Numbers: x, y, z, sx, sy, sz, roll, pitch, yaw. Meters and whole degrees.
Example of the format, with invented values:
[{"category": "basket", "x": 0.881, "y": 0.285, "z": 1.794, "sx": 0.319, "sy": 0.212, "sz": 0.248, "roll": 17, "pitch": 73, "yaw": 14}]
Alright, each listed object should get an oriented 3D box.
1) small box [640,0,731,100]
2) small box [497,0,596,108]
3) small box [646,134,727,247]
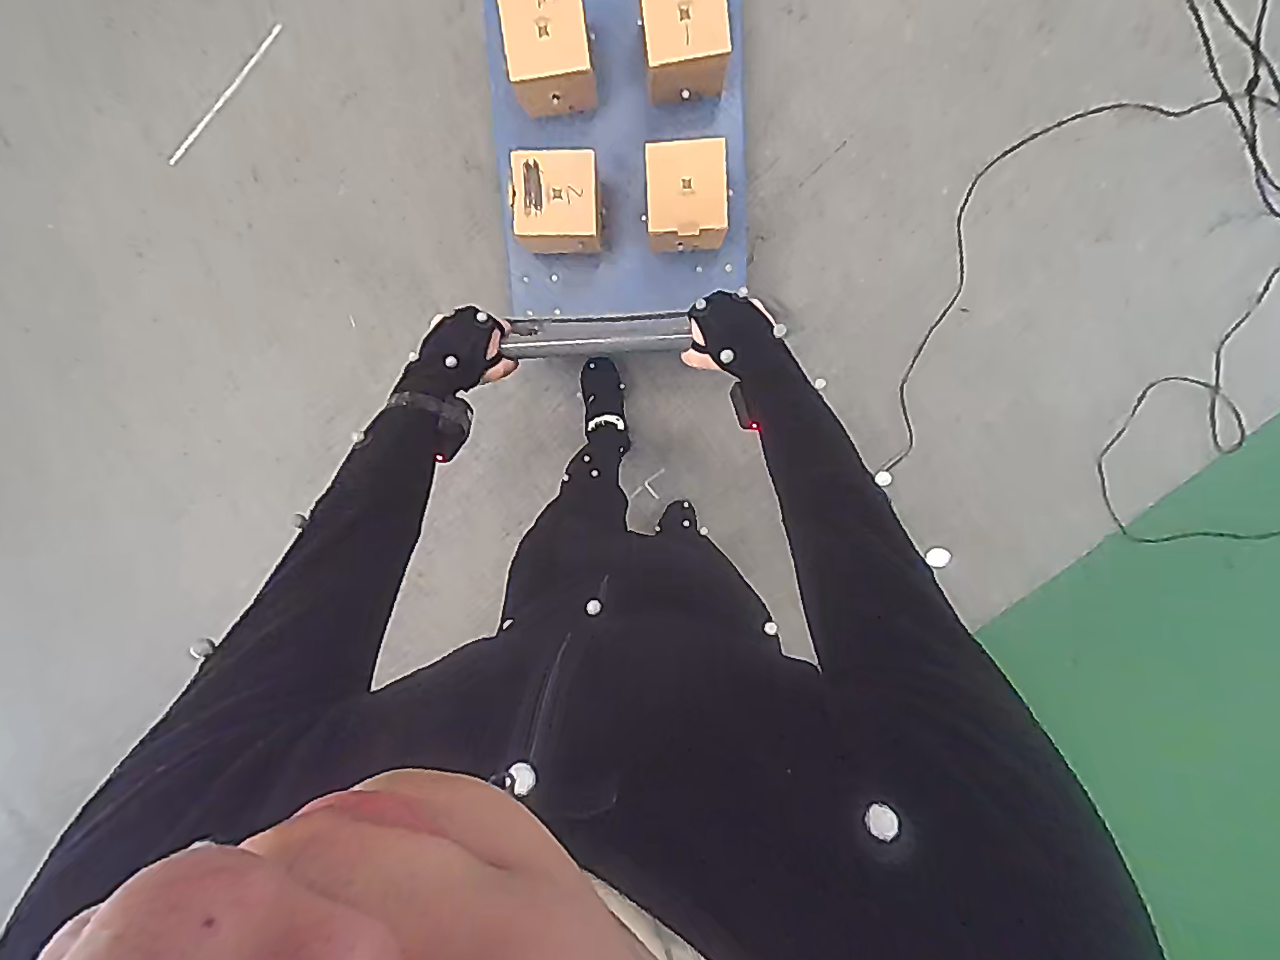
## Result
[{"category": "small box", "x": 0.089, "y": -0.933, "z": 1.119, "sx": 0.168, "sy": 0.176, "sz": 0.179, "roll": -7, "pitch": 102, "yaw": 4}, {"category": "small box", "x": -0.189, "y": -0.911, "z": 1.132, "sx": 0.168, "sy": 0.176, "sz": 0.179, "roll": -6, "pitch": 101, "yaw": 2}, {"category": "small box", "x": 0.097, "y": -0.624, "z": 1.184, "sx": 0.168, "sy": 0.176, "sz": 0.179, "roll": -3, "pitch": 102, "yaw": 2}]
